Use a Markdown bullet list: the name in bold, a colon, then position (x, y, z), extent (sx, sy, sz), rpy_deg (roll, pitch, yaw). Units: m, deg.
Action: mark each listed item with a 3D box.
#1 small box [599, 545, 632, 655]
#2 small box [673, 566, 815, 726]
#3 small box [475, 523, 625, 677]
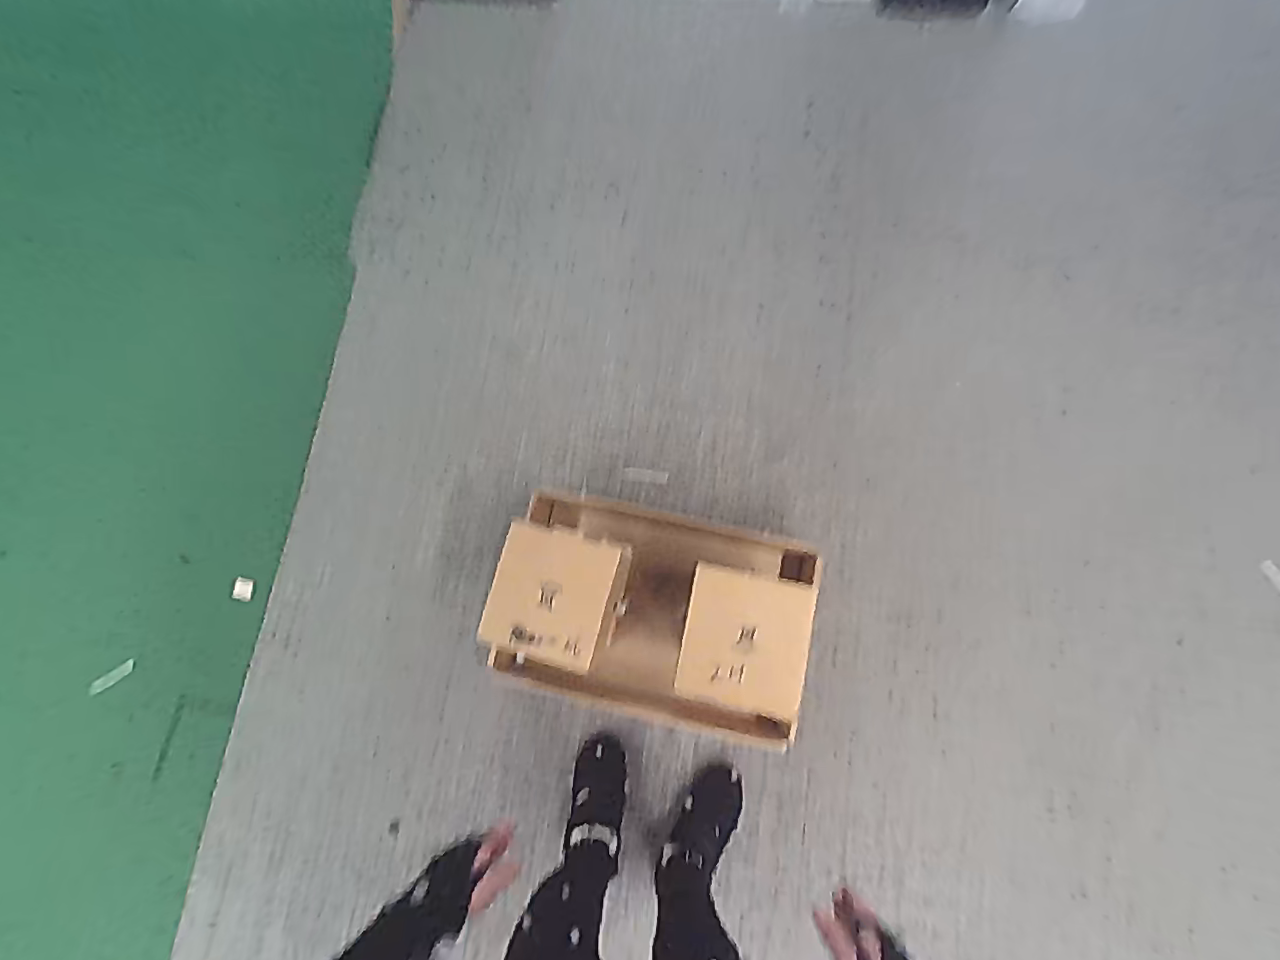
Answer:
- **small box**: position (-0.112, 0.207, 0.989), extent (0.168, 0.176, 0.179), rpy_deg (12, 78, 5)
- **small box**: position (0.146, 0.235, 0.797), extent (0.168, 0.176, 0.179), rpy_deg (11, 79, 8)
- **small box**: position (-0.124, 0.181, 0.827), extent (0.168, 0.176, 0.179), rpy_deg (15, 77, 6)
